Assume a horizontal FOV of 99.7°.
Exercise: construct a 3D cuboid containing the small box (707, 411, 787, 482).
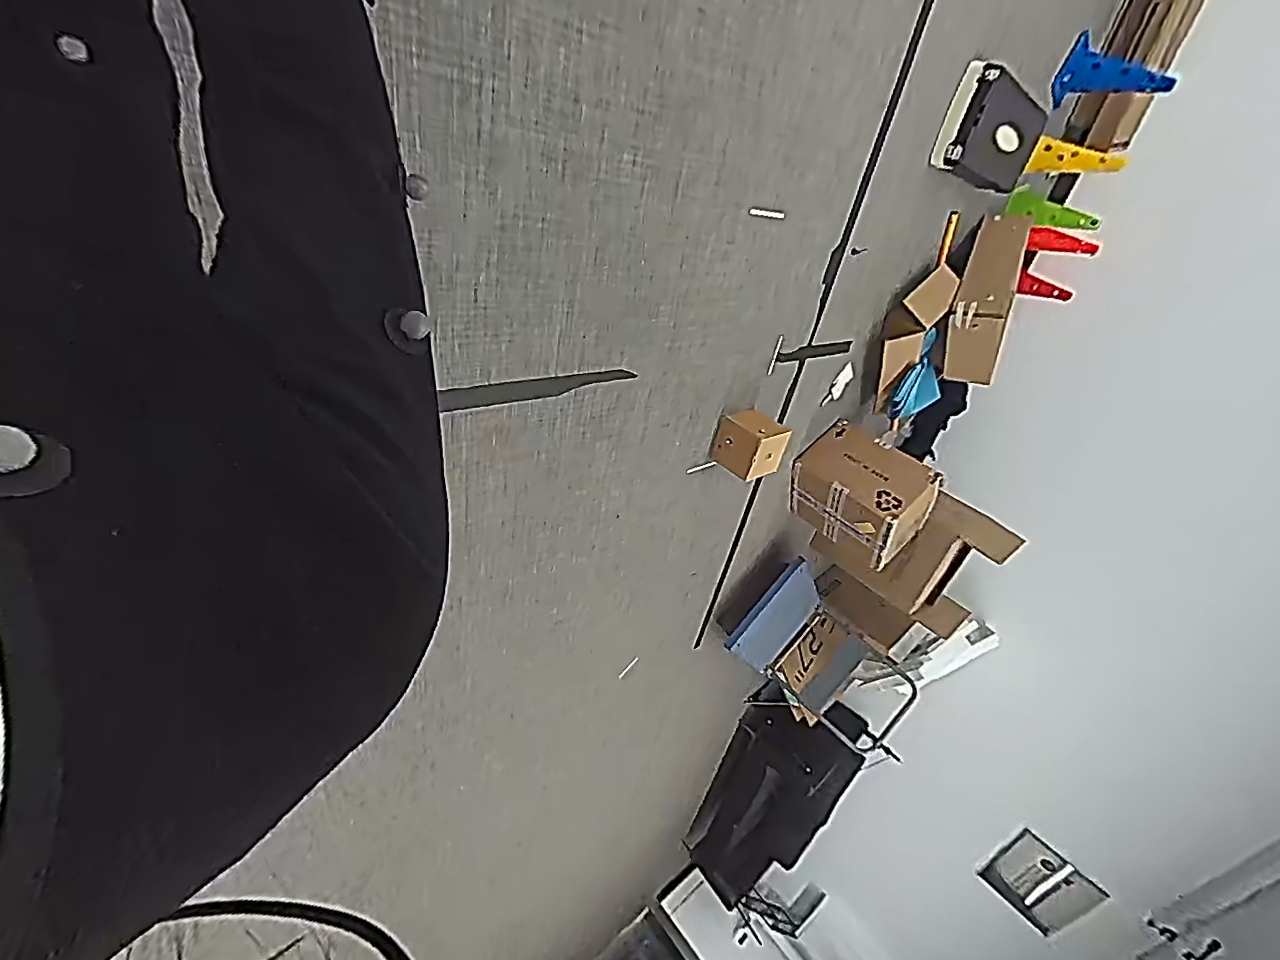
[{"bbox_3d":[0.361,-0.122,1.834,0.179,0.176,0.168,-17,133,-40],"label":"small box"}]
